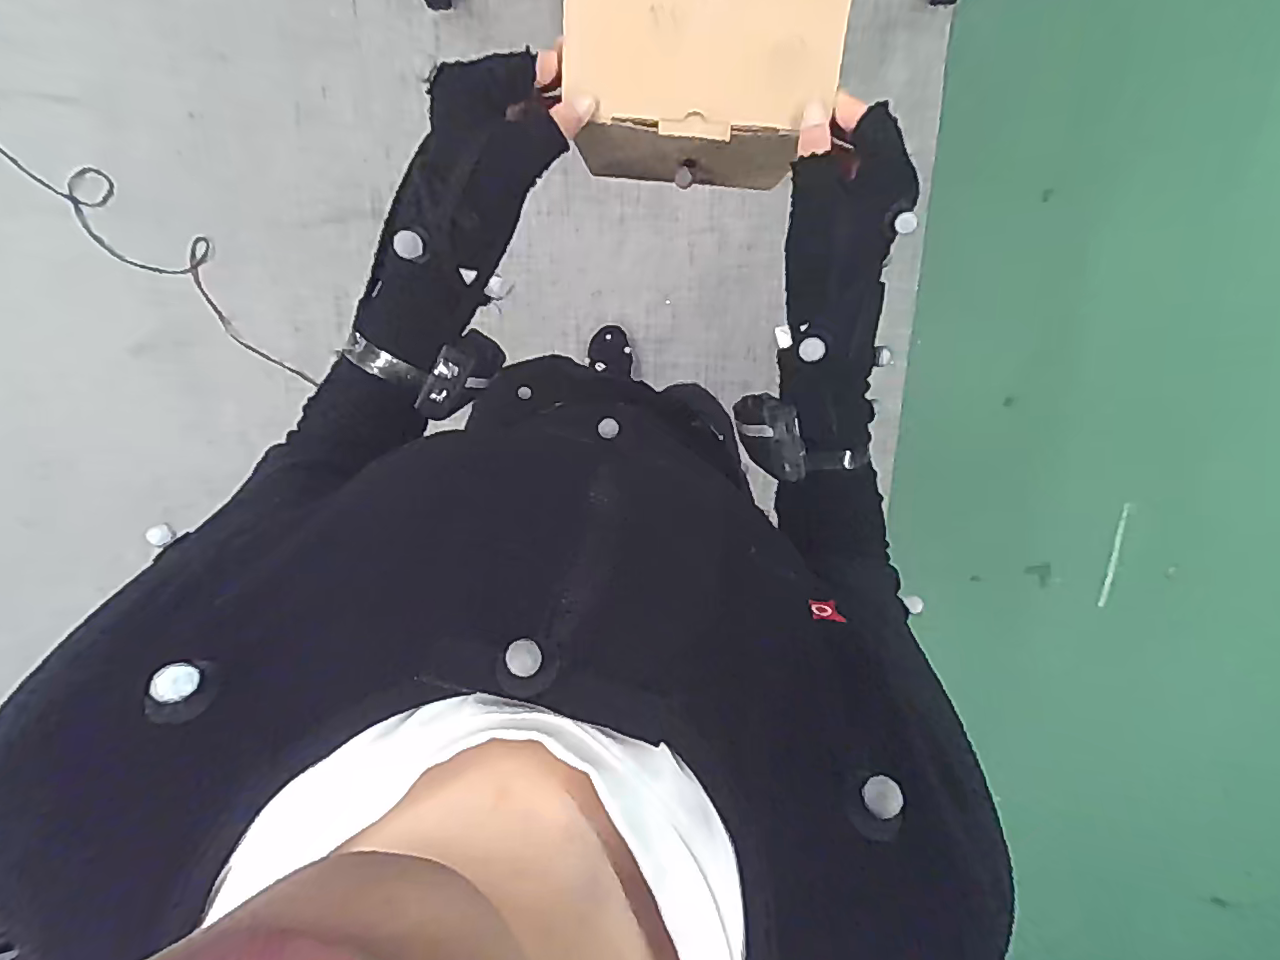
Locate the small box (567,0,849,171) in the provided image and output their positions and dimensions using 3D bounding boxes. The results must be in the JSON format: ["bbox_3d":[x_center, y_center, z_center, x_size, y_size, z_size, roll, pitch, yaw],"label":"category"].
[{"bbox_3d":[0.045,-0.332,0.380,0.168,0.176,0.179,5,110,0],"label":"small box"}]
